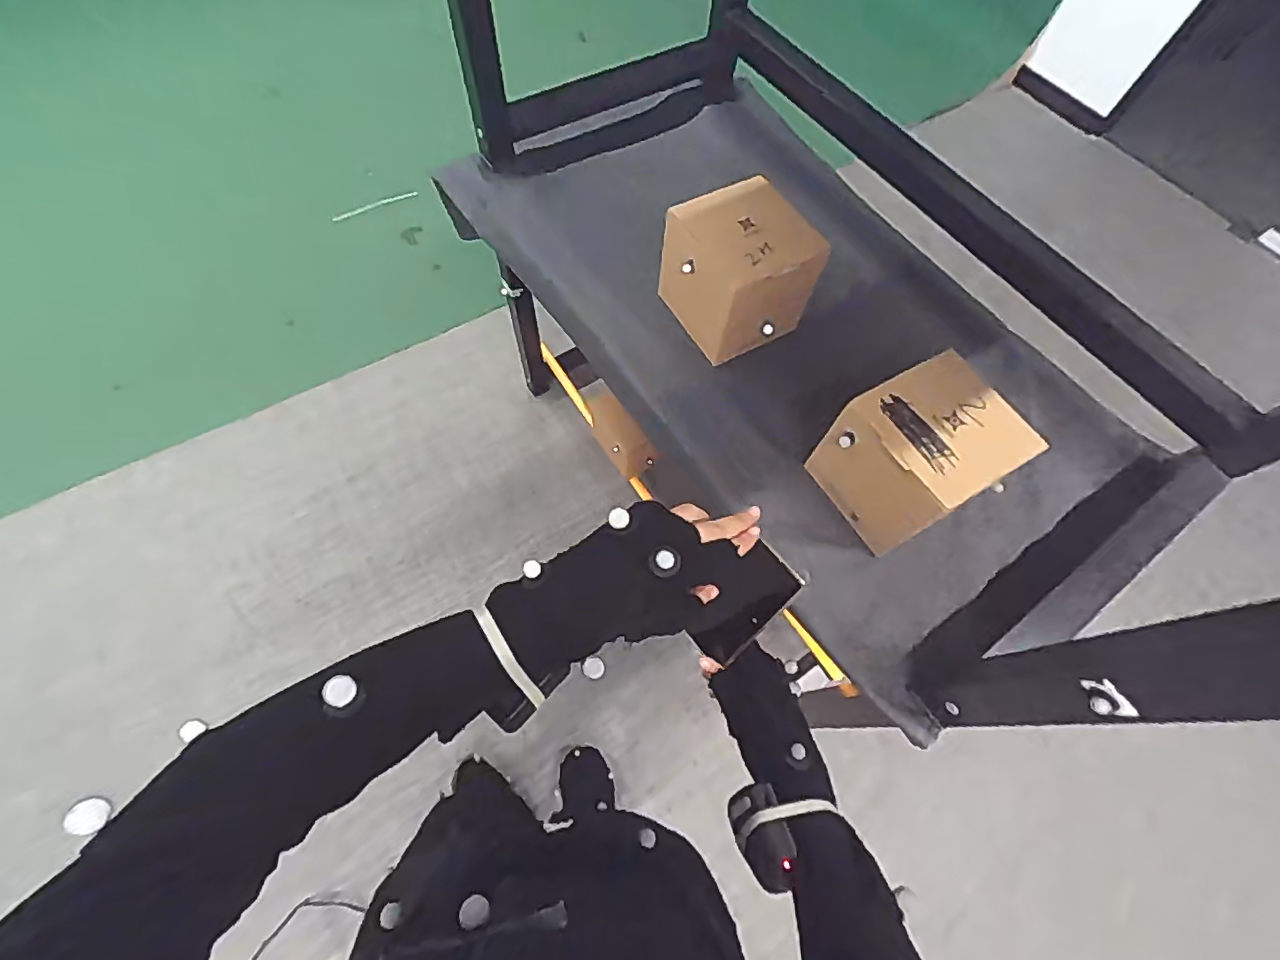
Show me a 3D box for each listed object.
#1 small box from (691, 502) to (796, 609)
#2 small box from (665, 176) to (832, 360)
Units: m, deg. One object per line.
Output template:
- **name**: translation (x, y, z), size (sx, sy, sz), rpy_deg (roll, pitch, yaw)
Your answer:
- **small box**: translation (0.235, 0.187, 1.290), size (0.179, 0.176, 0.168), rpy_deg (-27, 70, -15)
- **small box**: translation (0.151, -0.320, 0.833), size (0.168, 0.176, 0.179), rpy_deg (-27, 70, -15)
